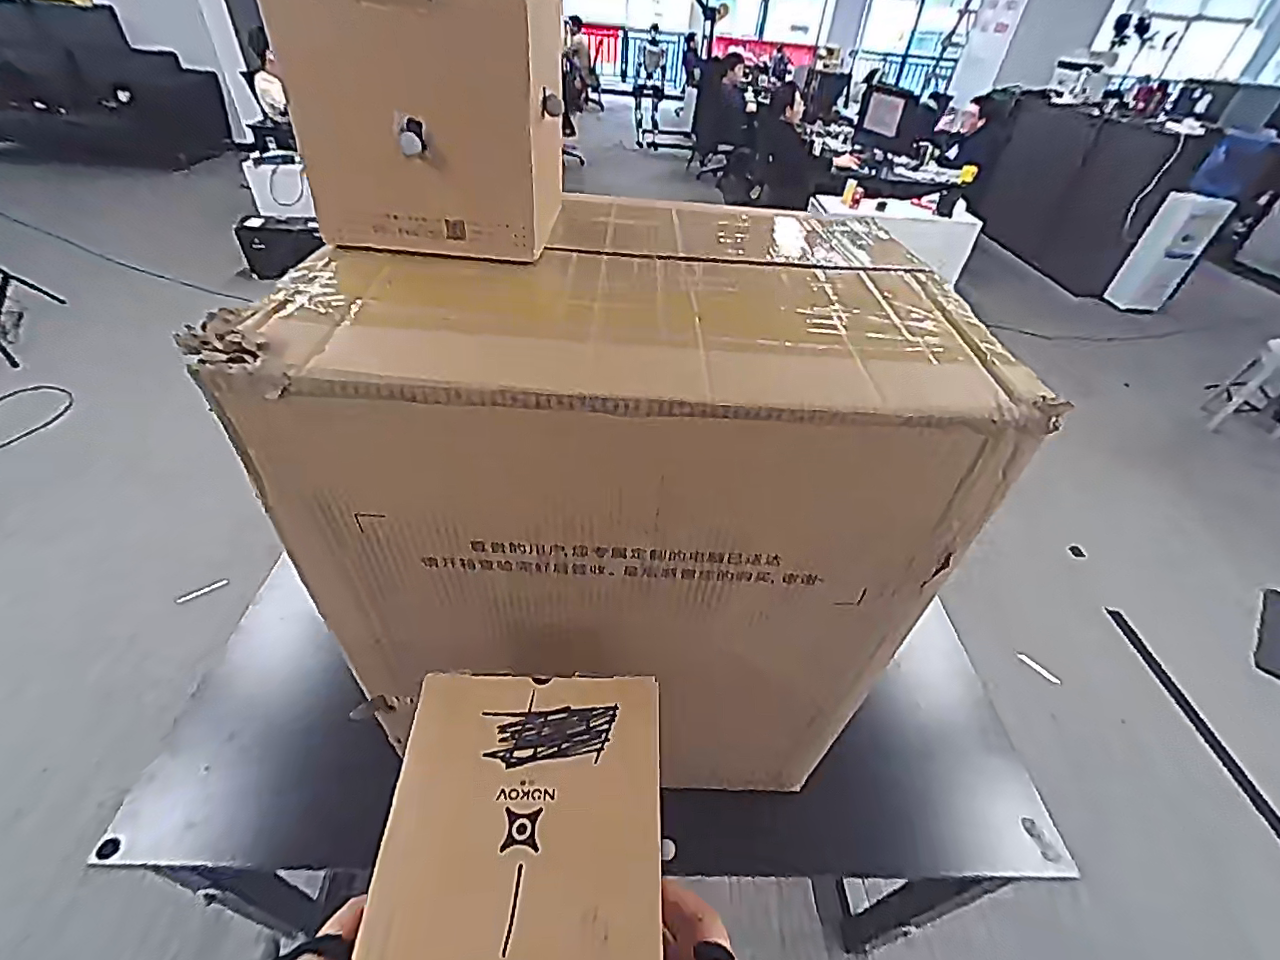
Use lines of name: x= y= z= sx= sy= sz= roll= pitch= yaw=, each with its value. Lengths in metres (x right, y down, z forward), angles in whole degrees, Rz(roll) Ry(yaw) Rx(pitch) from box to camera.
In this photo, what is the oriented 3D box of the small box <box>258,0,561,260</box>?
small box: x=-0.155 y=-0.292 z=0.438 sx=0.168 sy=0.176 sz=0.179 roll=4 pitch=40 yaw=-3
